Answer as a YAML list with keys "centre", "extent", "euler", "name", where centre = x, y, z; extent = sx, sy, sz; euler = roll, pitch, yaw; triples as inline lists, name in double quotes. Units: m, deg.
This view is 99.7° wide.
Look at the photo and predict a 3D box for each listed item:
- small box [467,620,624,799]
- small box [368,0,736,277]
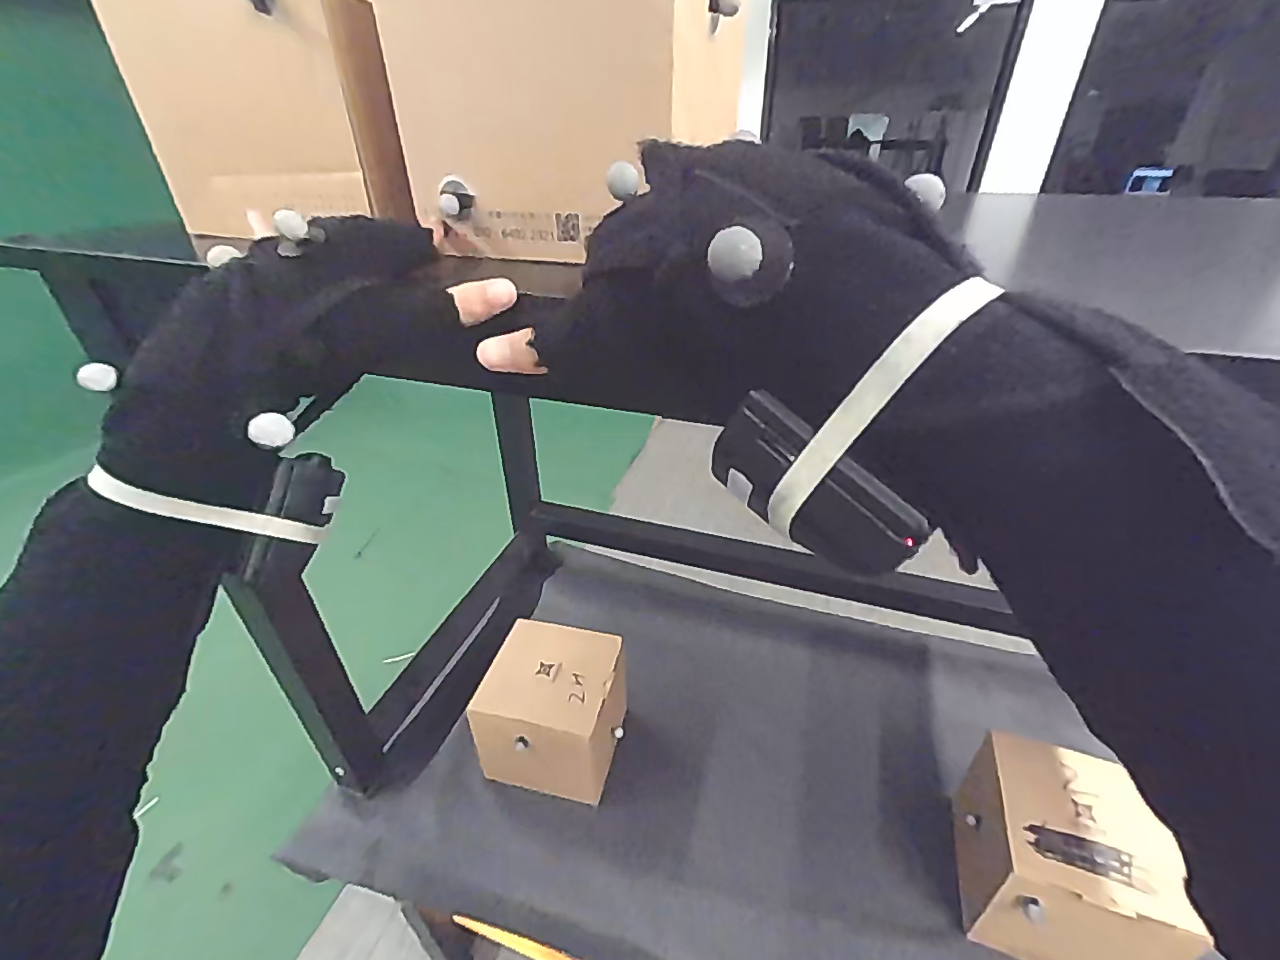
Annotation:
- centre: [-0.128, 0.339, 0.805]
  extent: [0.179, 0.176, 0.168]
  euler: [8, 34, 12]
  name: "small box"
- centre: [-0.036, -0.237, 0.351]
  extent: [0.168, 0.176, 0.179]
  euler: [11, 33, 16]
  name: "small box"
